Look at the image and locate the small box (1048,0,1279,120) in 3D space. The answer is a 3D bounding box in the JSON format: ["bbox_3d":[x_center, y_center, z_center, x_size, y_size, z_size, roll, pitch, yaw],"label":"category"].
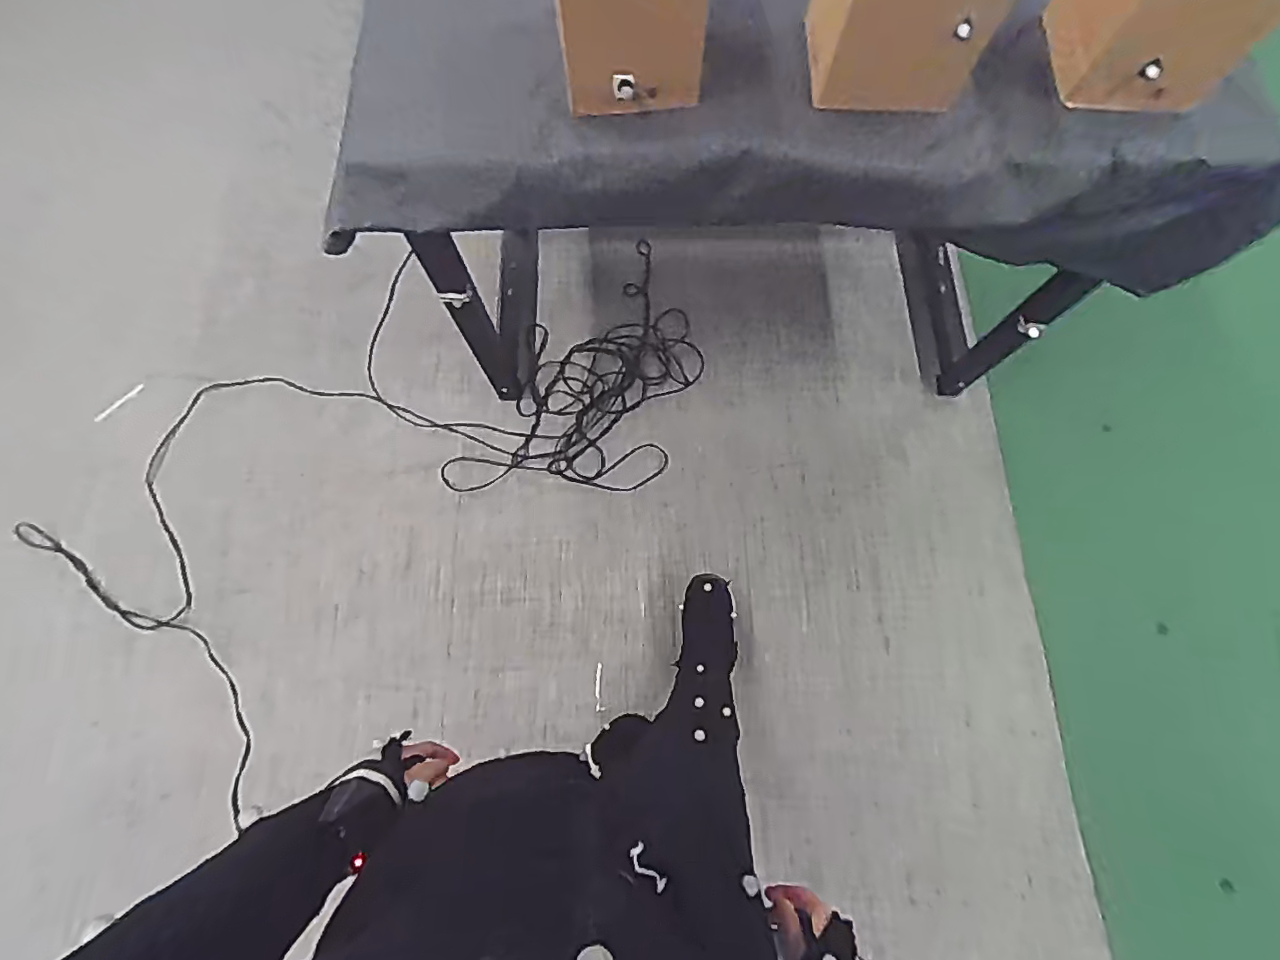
[{"bbox_3d":[0.640,-0.583,0.656,0.168,0.176,0.179,3,73,1],"label":"small box"}]

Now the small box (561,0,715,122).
[{"bbox_3d":[-0.011,-0.575,0.649,0.168,0.176,0.179,-8,74,-2],"label":"small box"}]
